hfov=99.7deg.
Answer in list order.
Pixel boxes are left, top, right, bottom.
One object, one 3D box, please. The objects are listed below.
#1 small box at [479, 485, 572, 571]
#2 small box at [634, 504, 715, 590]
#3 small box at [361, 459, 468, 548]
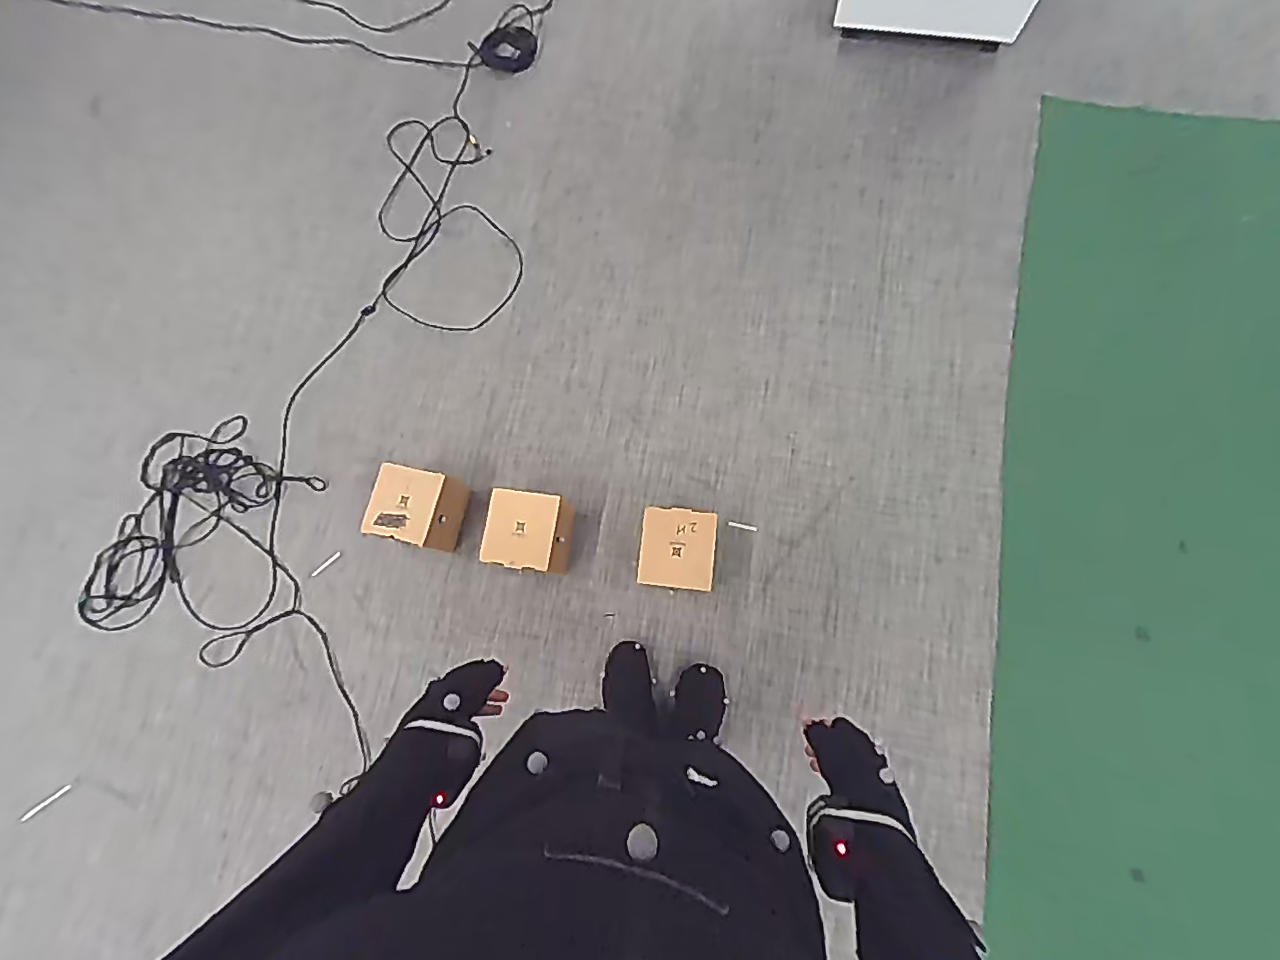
[{"bbox_3d":[-0.271,0.122,1.325,0.168,0.176,0.179,7,79,6],"label":"small box"},{"bbox_3d":[0.084,0.164,1.285,0.168,0.176,0.179,6,79,5],"label":"small box"},{"bbox_3d":[-0.555,0.066,1.358,0.168,0.176,0.179,12,78,7],"label":"small box"}]
